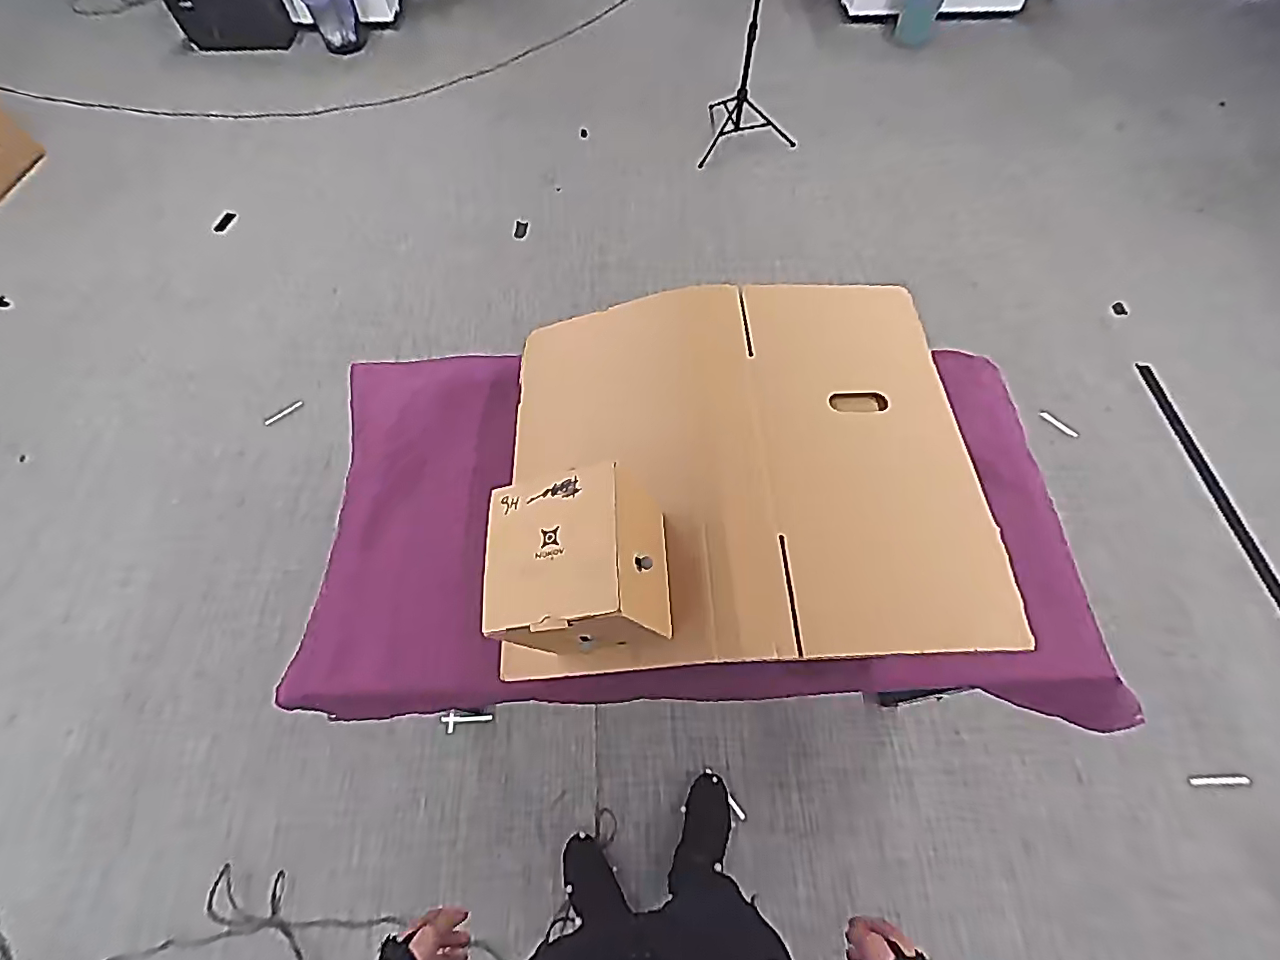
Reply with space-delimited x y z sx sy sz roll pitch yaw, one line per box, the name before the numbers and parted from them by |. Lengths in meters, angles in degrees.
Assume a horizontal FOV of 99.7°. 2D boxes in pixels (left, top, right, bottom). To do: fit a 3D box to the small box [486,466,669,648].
small box | -0.068 0.107 0.669 0.168 0.176 0.179 -12 63 17
